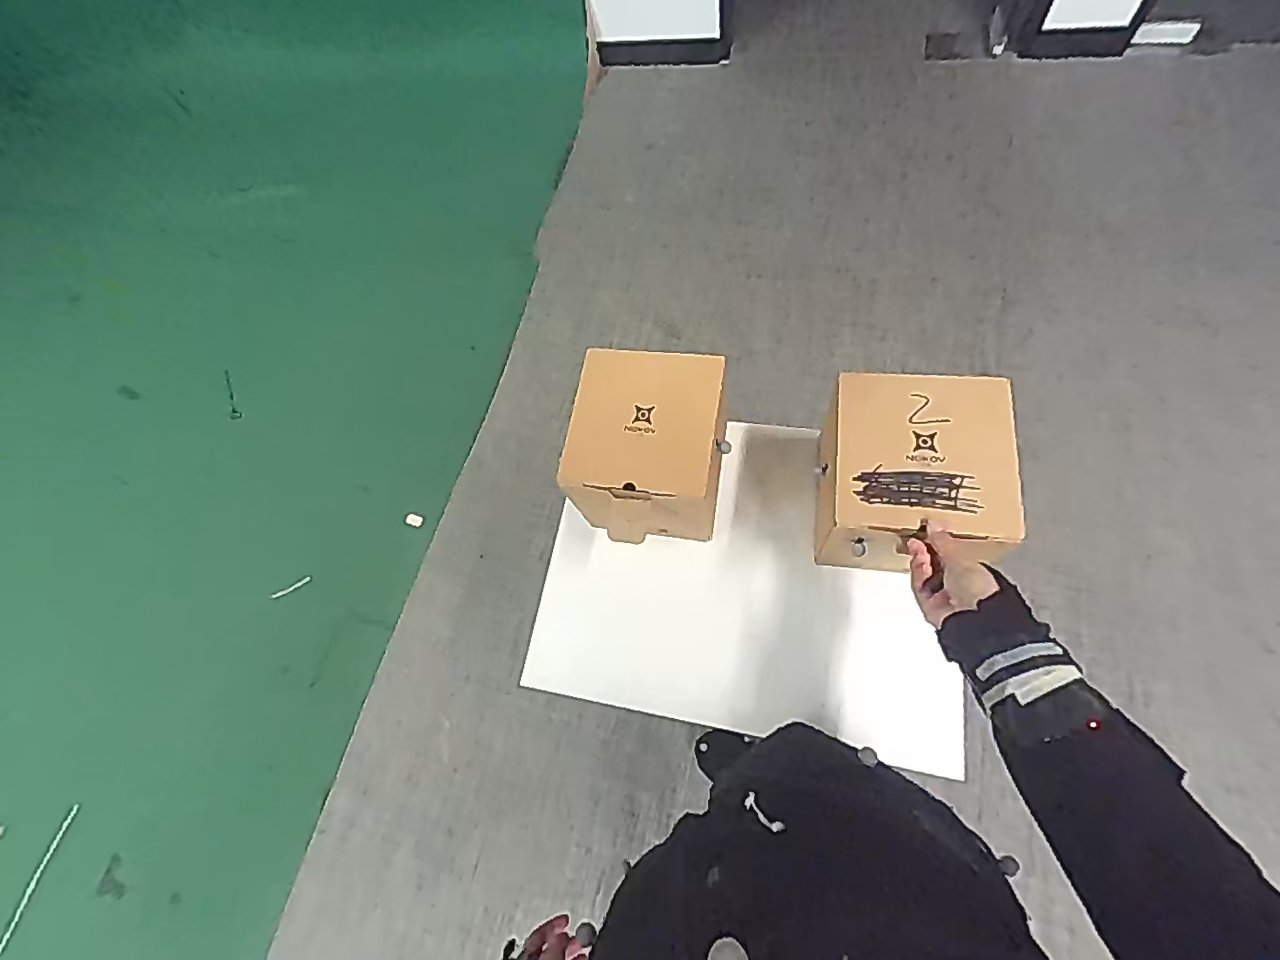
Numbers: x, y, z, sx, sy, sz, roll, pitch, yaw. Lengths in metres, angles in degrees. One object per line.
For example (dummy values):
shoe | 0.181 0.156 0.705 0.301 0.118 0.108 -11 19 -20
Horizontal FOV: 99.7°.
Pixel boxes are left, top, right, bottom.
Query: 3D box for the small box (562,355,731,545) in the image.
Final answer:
small box | 0.020 -0.031 0.674 0.168 0.176 0.179 6 71 12
